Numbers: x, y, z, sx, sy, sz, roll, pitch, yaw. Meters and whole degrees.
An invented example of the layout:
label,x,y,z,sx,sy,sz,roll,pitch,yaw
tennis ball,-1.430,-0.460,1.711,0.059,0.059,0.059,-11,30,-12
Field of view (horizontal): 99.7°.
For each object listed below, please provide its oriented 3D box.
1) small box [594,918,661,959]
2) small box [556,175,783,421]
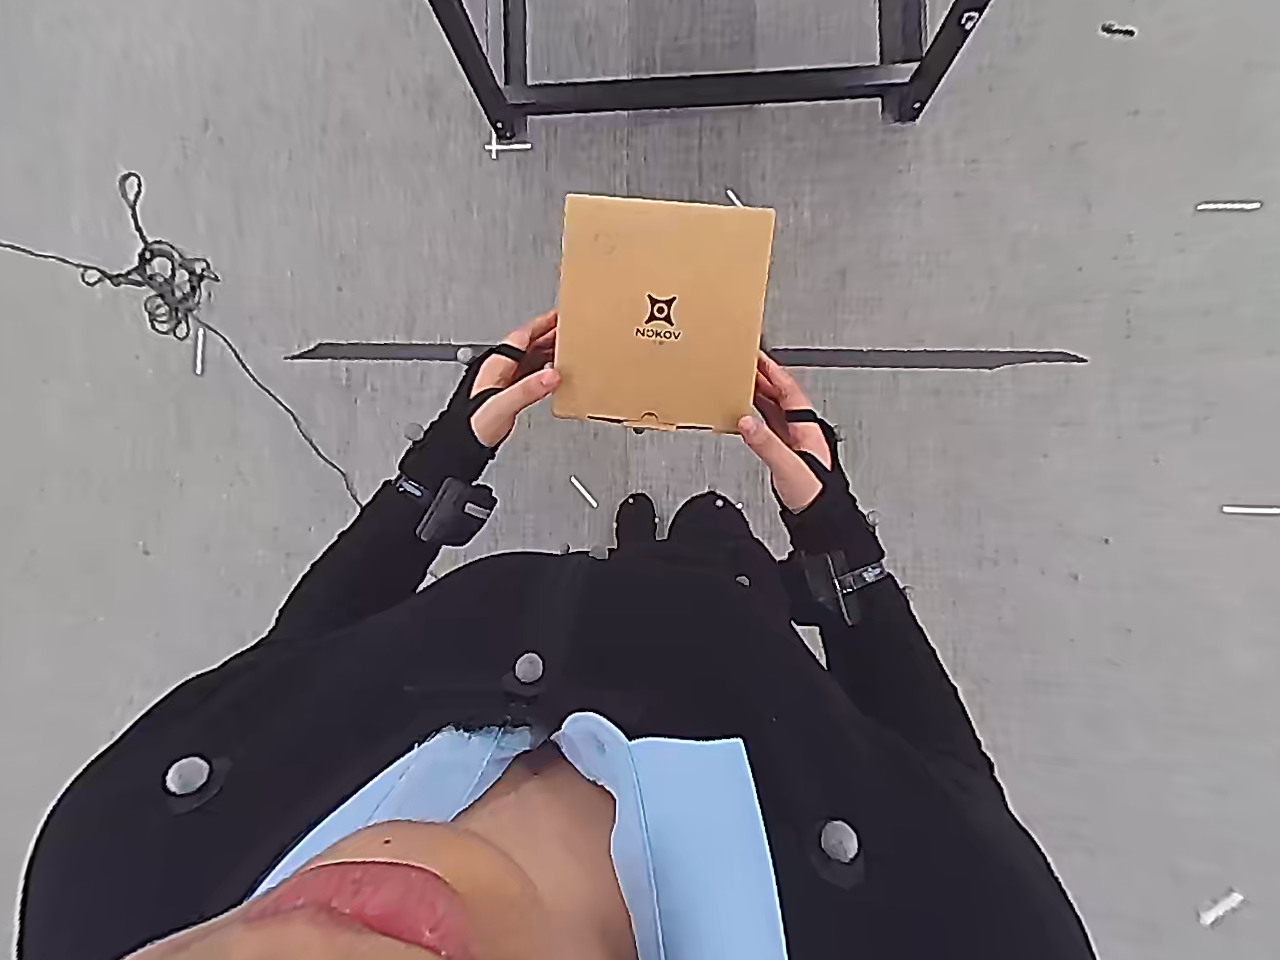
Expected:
label,x,y,z,sx,sy,sz,roll,pitch,yaw
small box,-0.032,1.255,1.368,0.168,0.176,0.179,-1,88,4
small box,0.023,-0.150,0.502,0.168,0.176,0.179,5,98,1
